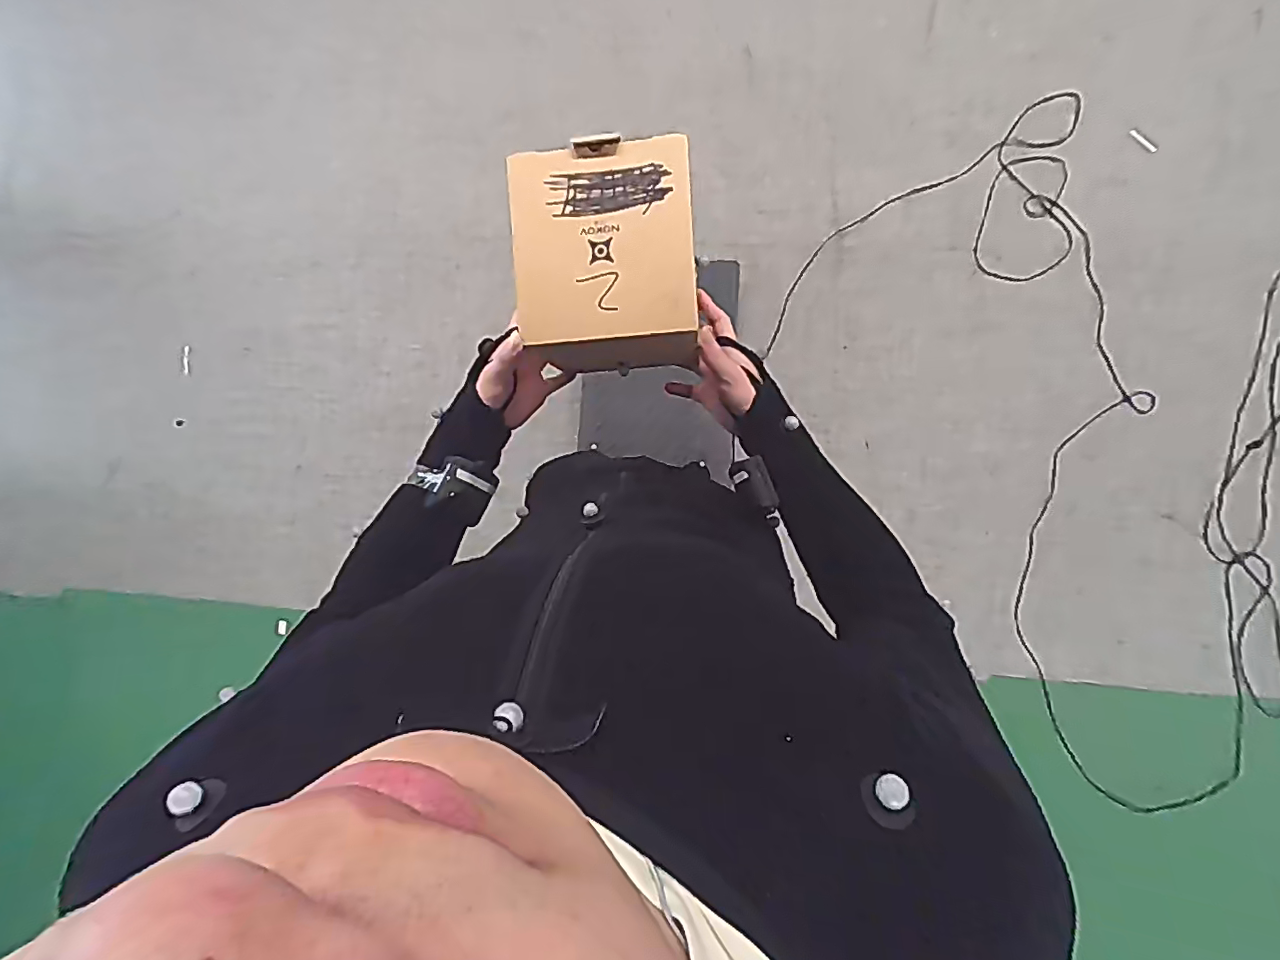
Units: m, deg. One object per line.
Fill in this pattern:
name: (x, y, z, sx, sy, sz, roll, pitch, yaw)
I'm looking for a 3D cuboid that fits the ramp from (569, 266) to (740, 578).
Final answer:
ramp: (0.052, -0.210, 1.700, 0.509, 0.206, 0.991, 1, 91, 7)
